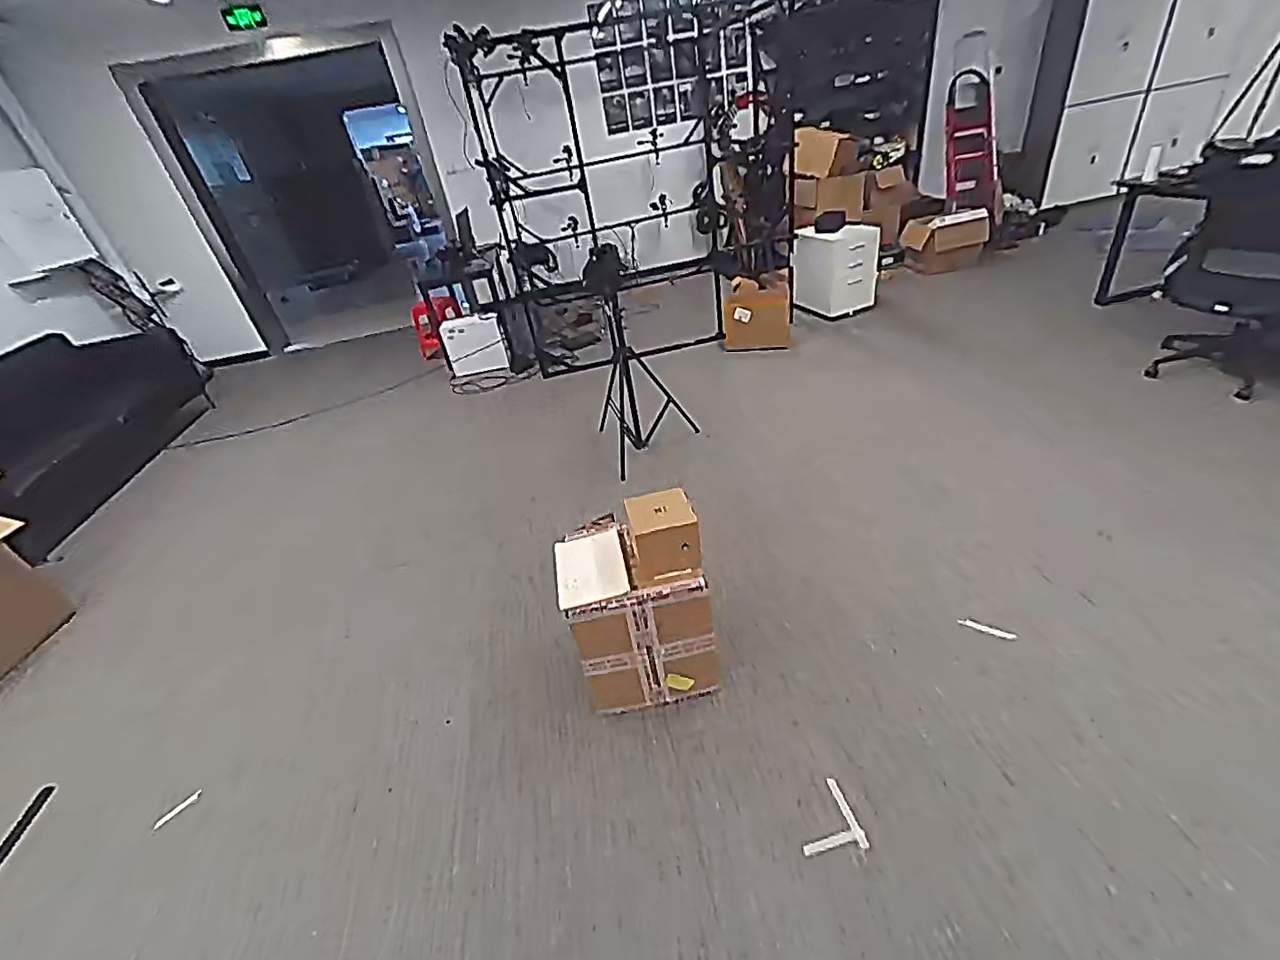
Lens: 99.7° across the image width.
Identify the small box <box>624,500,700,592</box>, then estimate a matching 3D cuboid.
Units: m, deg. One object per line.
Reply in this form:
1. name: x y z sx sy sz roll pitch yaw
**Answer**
1. small box: 0.063 0.183 1.495 0.179 0.176 0.168 -13 35 -6
